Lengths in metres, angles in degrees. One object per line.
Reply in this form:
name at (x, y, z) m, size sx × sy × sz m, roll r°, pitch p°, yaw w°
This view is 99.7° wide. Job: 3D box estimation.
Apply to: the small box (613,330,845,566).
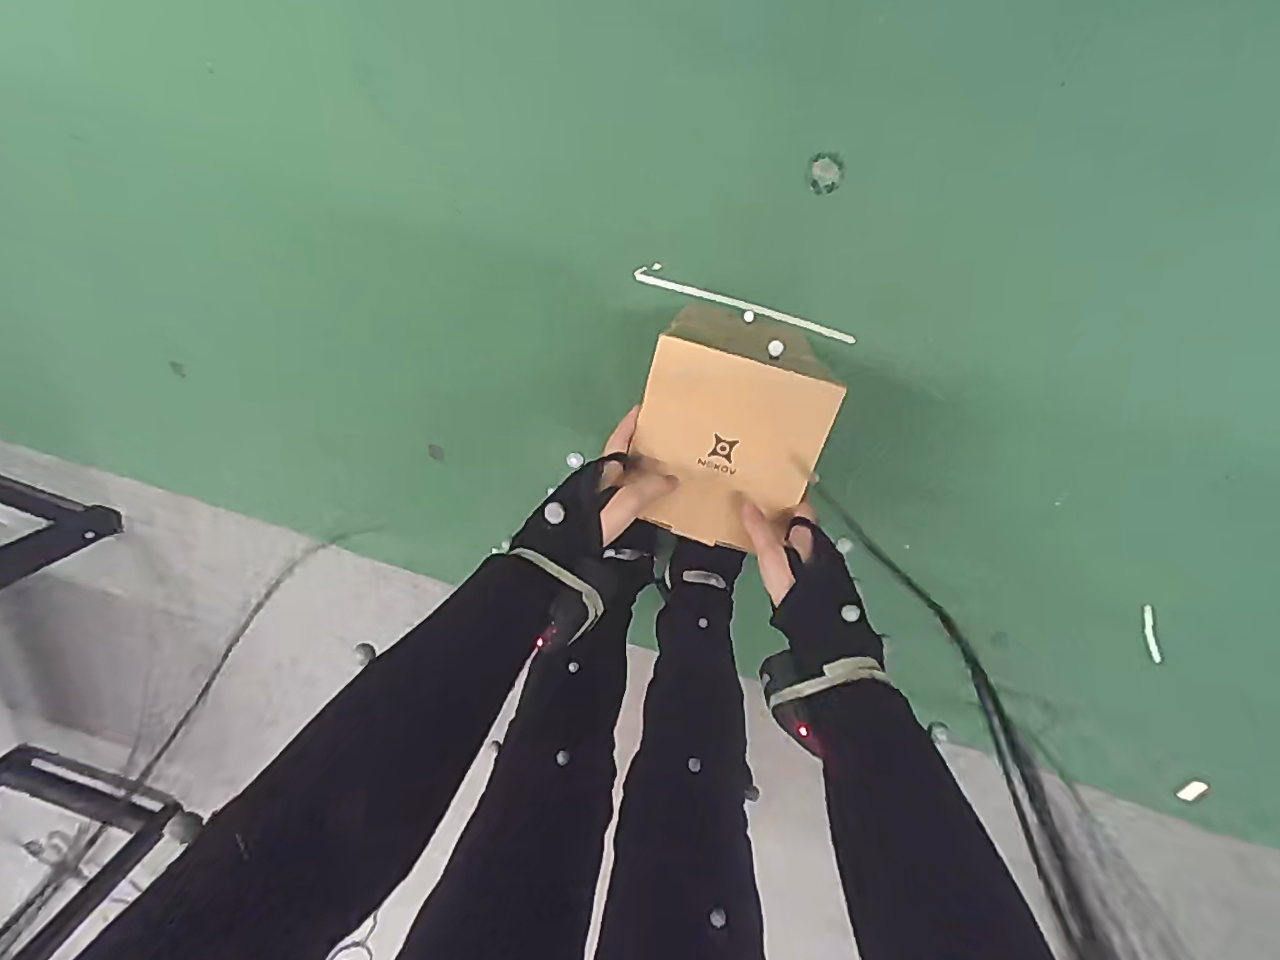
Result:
small box at (0.084, -0.046, 0.559) m, size 0.168 × 0.176 × 0.179 m, roll 18°, pitch 112°, yaw 3°
